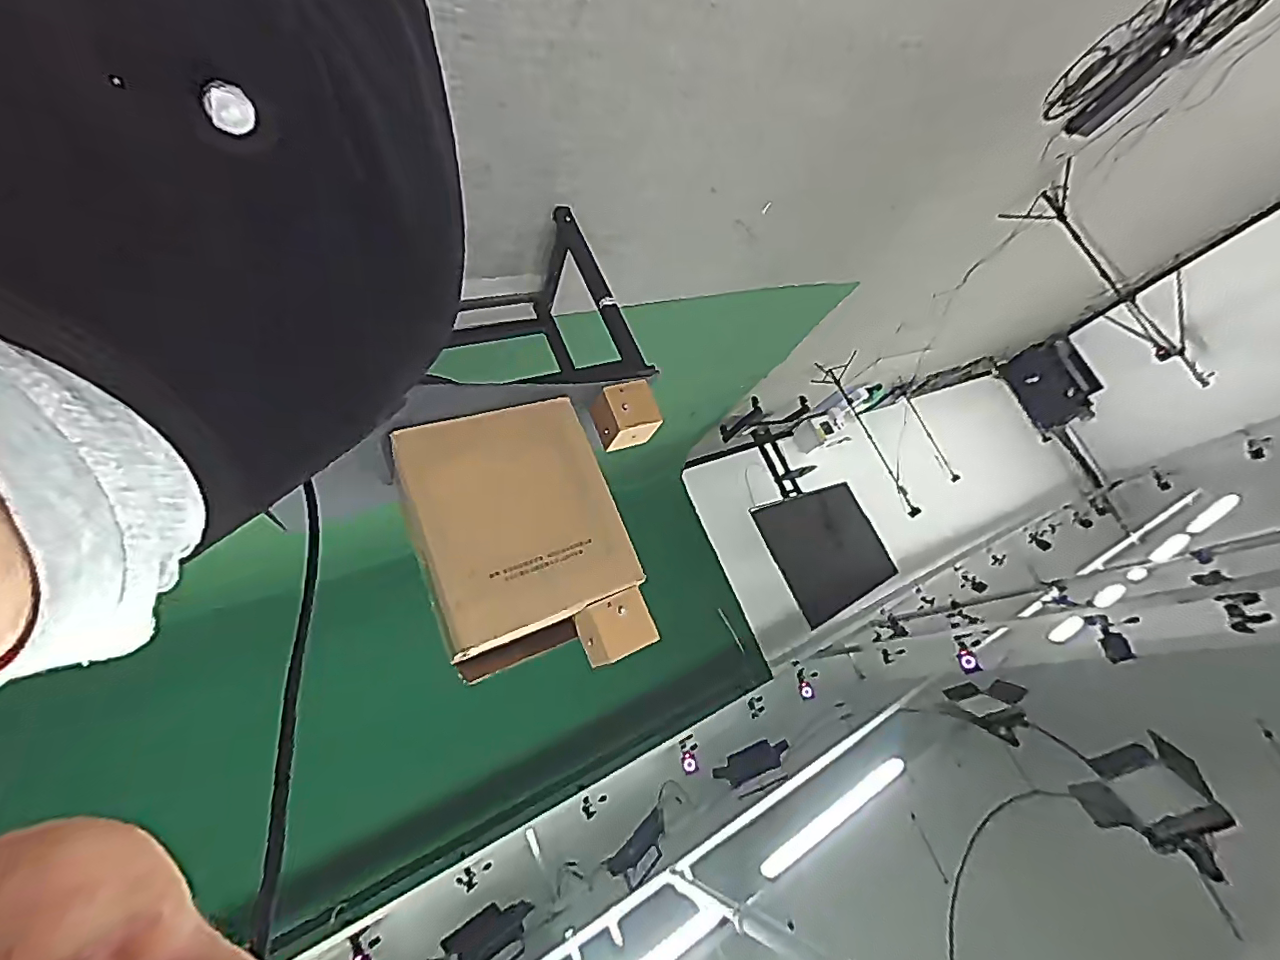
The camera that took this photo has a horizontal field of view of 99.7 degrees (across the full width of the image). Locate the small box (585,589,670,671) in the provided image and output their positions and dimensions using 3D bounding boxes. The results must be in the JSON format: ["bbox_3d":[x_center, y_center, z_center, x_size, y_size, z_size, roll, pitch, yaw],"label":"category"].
[{"bbox_3d":[-0.045,0.437,1.587,0.168,0.176,0.179,-19,164,-29],"label":"small box"}]

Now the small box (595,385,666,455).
[{"bbox_3d":[-0.038,-0.214,1.866,0.168,0.176,0.179,-16,165,-26],"label":"small box"}]
